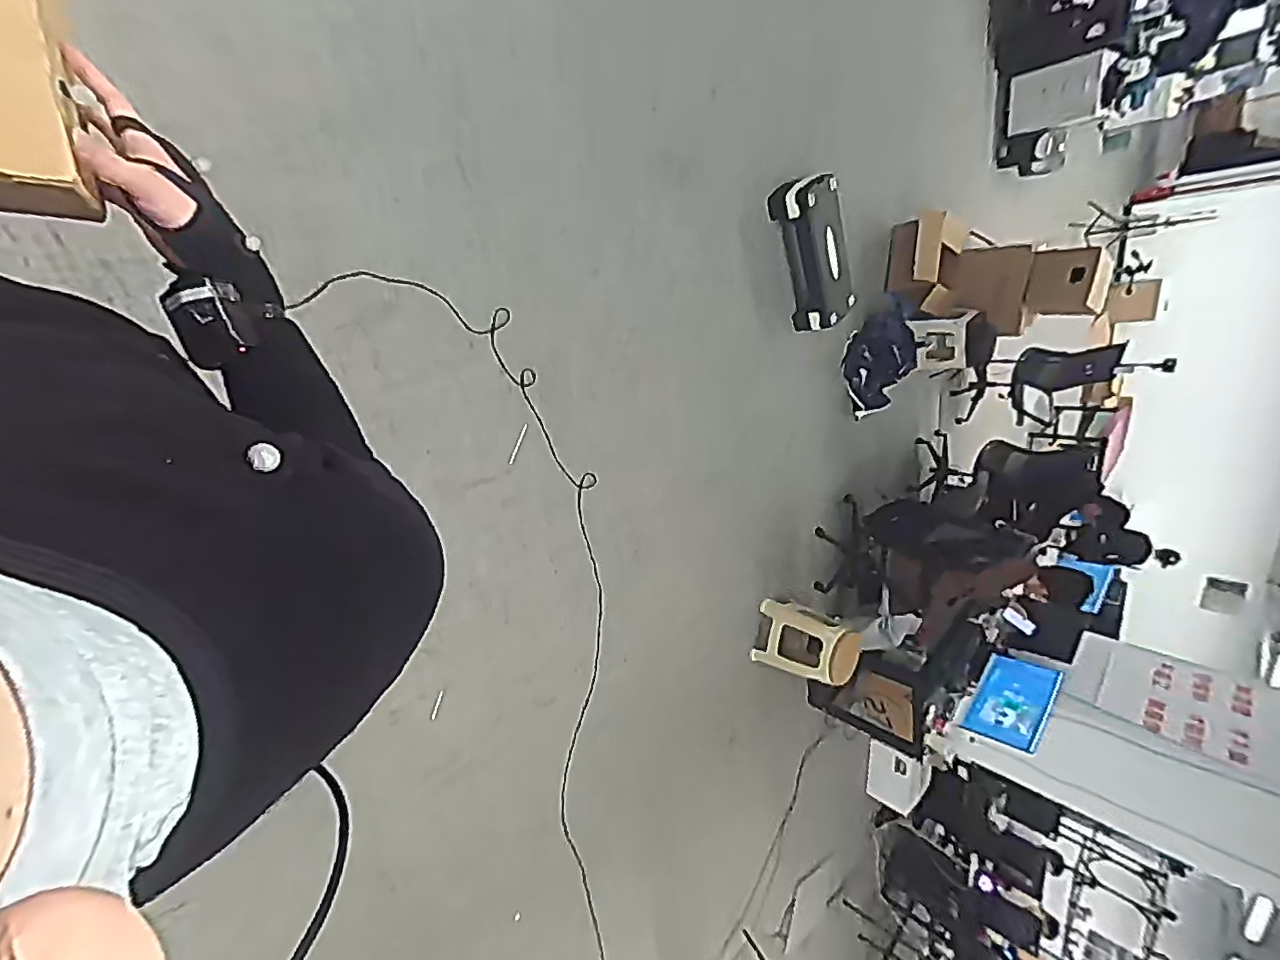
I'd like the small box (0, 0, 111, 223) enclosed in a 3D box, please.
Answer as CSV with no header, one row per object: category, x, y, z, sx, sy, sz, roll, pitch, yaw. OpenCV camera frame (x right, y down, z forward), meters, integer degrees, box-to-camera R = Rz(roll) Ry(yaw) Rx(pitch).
small box,-0.469,-0.272,0.341,0.168,0.176,0.179,-12,111,-39
